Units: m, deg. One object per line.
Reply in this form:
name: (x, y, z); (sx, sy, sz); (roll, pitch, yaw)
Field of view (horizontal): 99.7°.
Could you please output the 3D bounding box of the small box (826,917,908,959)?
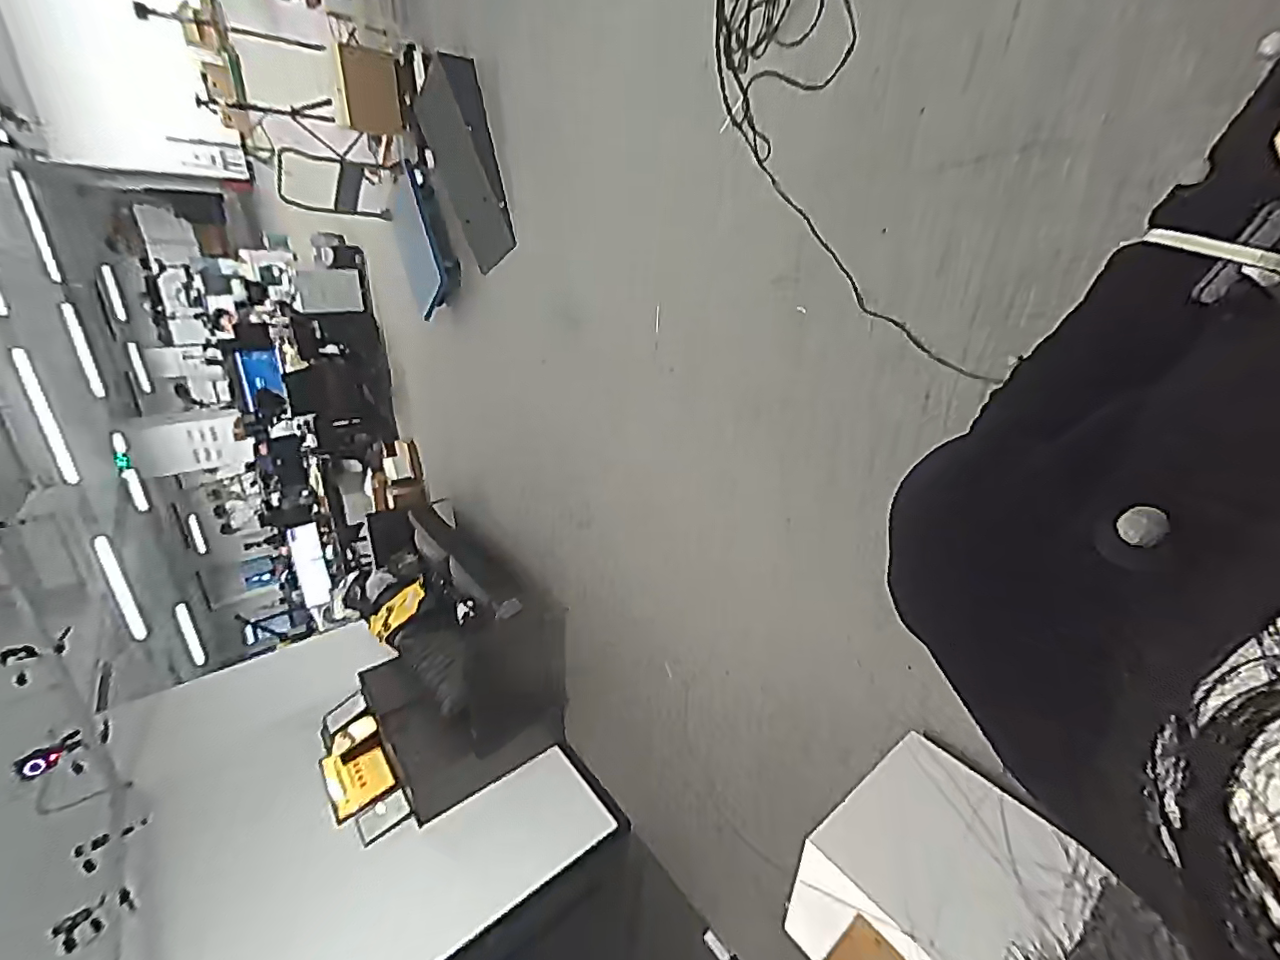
small box: (0.507, 1.143, 1.203); (0.168, 0.176, 0.179); (30, 127, 44)
